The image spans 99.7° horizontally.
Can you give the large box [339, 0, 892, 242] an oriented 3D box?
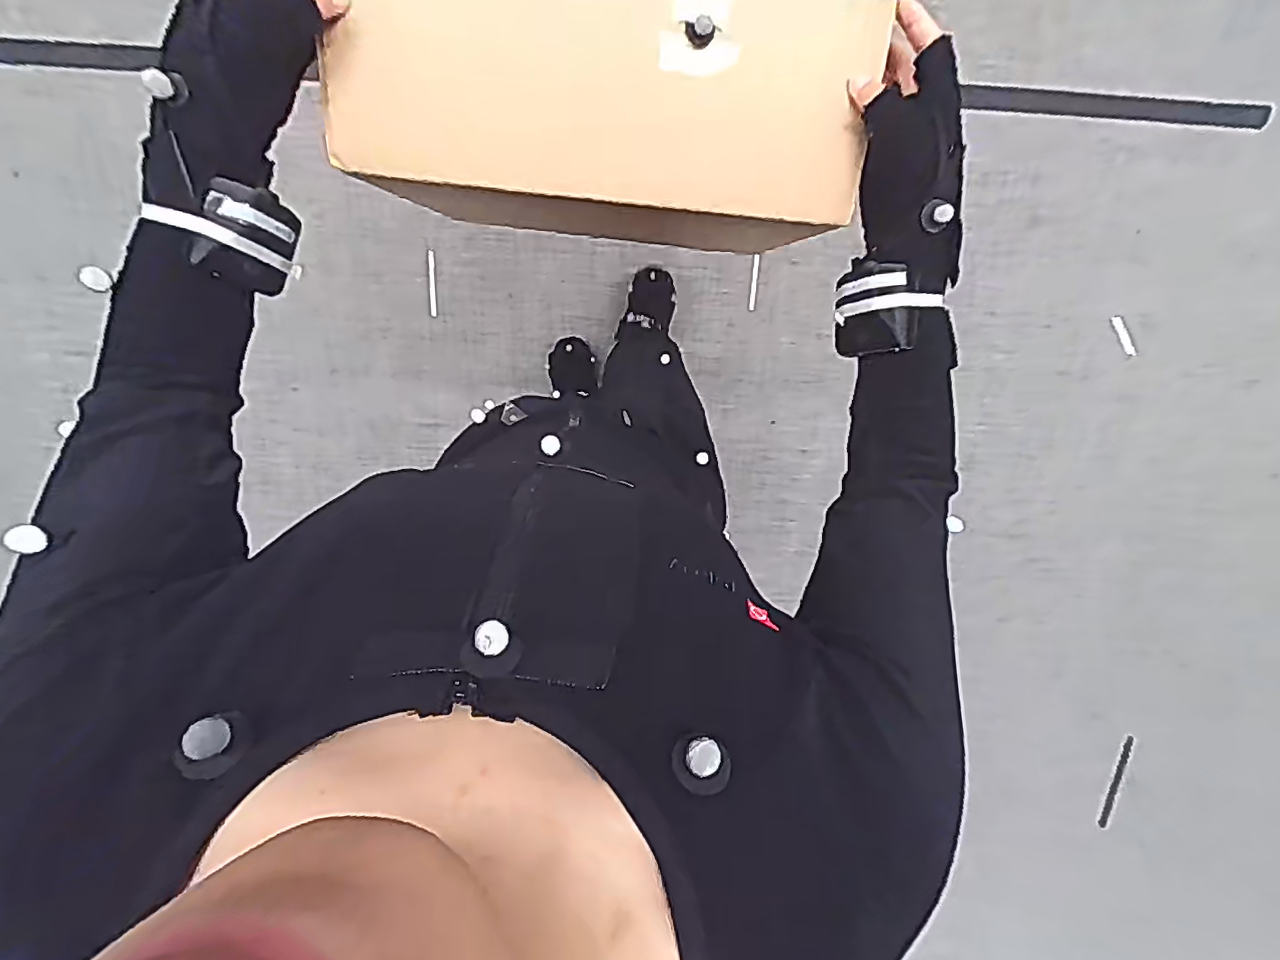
[{"bbox_3d":[-0.019,-0.424,0.518,0.408,0.320,0.320,4,109,-4],"label":"large box"}]
